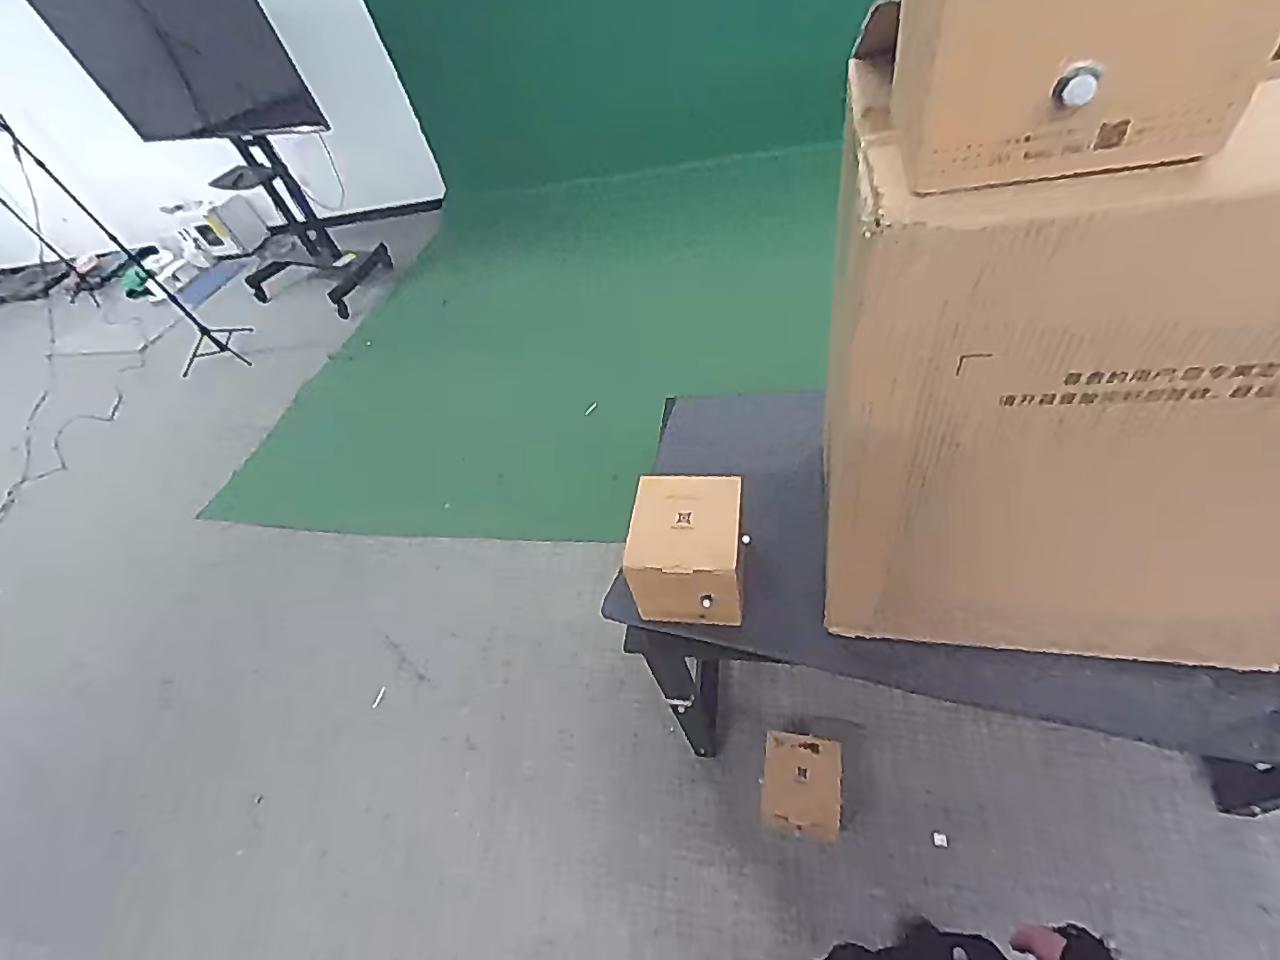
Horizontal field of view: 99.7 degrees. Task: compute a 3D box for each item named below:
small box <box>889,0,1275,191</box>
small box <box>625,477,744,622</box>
[{"bbox_3d":[0.262,-0.313,0.346,0.168,0.176,0.179,0,50,17],"label":"small box"},{"bbox_3d":[0.083,0.115,0.883,0.168,0.176,0.179,0,47,13],"label":"small box"}]
